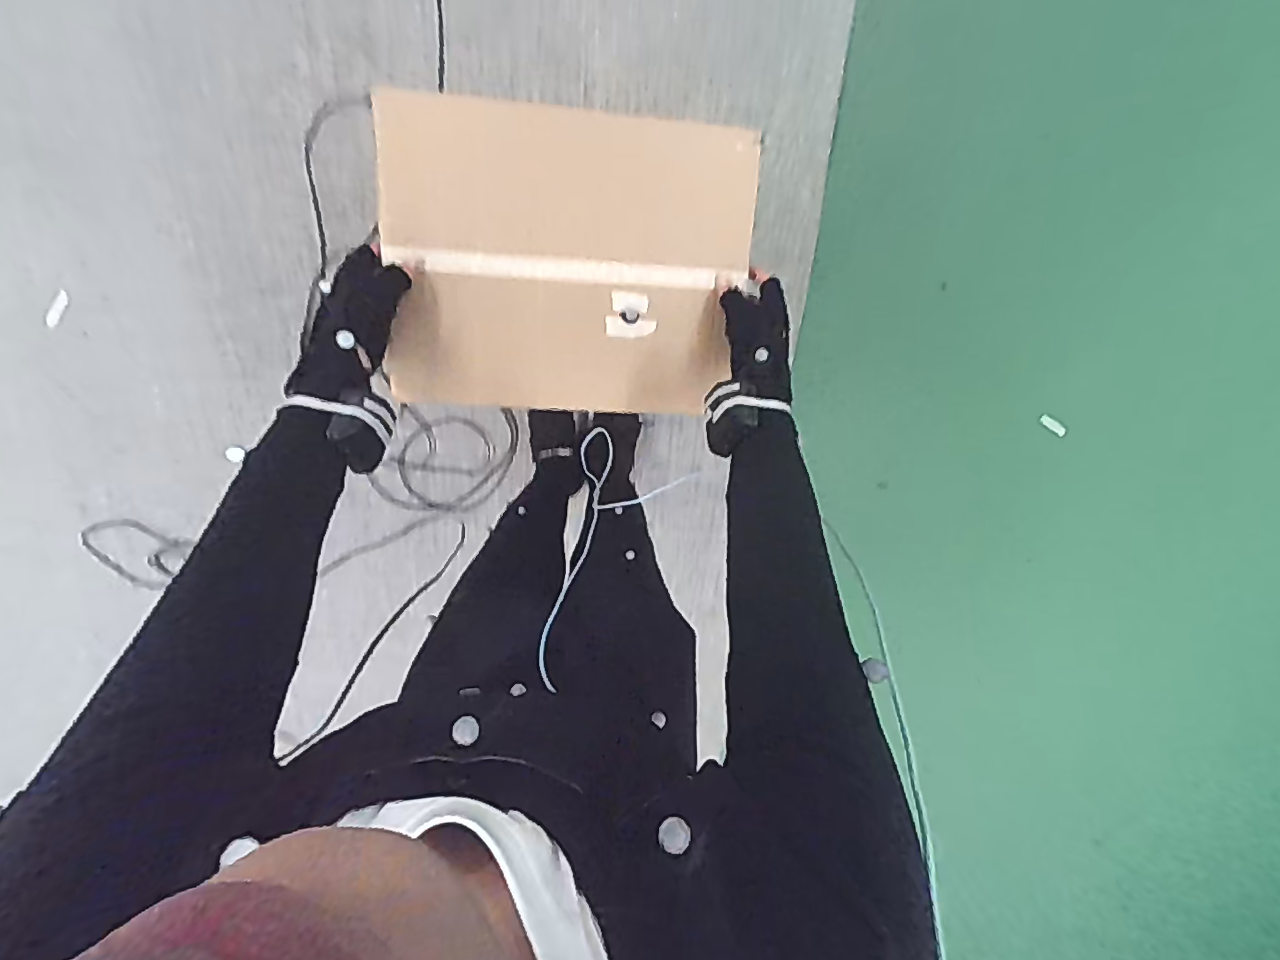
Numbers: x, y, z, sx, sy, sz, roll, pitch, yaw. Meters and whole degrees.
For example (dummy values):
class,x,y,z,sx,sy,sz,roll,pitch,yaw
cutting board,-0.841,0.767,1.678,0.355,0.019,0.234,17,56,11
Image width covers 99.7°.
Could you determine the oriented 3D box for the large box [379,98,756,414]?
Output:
class,x,y,z,sx,sy,sz,roll,pitch,yaw
large box,-0.096,-0.268,0.747,0.408,0.320,0.320,2,105,-9
